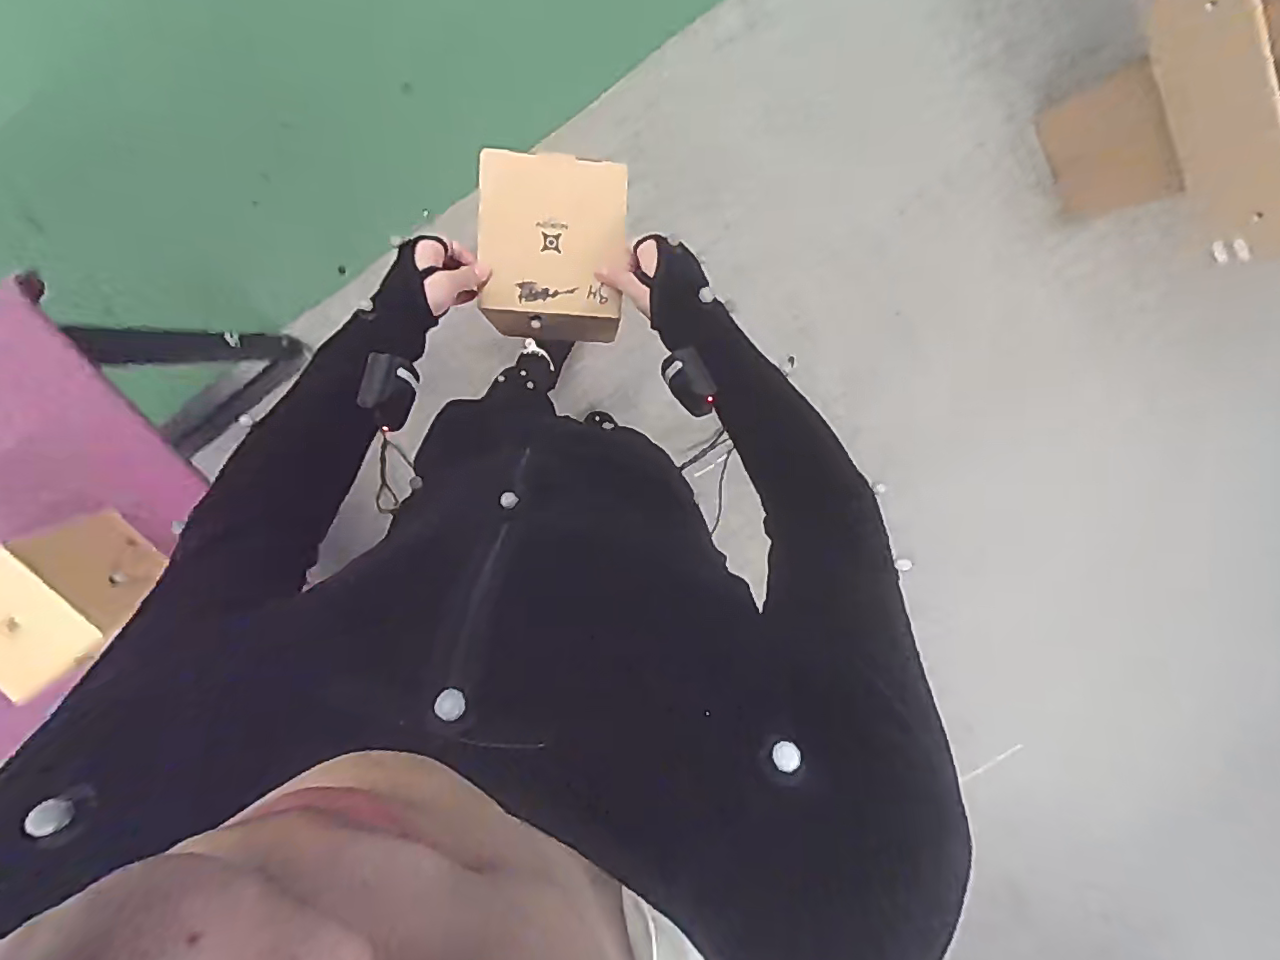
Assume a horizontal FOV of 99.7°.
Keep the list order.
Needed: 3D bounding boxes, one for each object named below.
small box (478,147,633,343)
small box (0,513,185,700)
[{"bbox_3d":[-0.104,-0.284,0.691,0.168,0.176,0.179,4,95,-5],"label":"small box"},{"bbox_3d":[-0.836,0.175,0.800,0.179,0.176,0.168,-36,104,7],"label":"small box"}]
